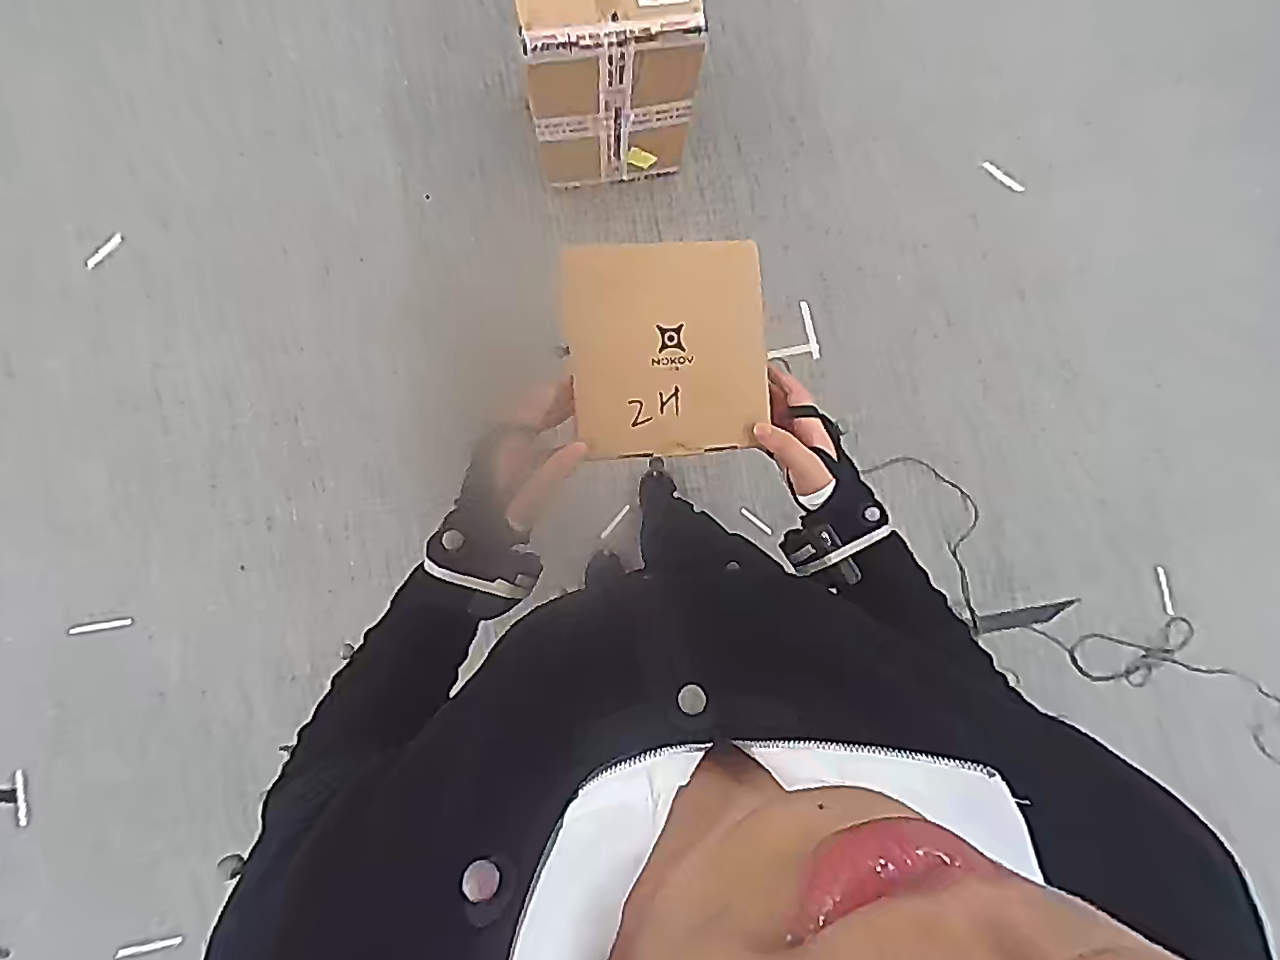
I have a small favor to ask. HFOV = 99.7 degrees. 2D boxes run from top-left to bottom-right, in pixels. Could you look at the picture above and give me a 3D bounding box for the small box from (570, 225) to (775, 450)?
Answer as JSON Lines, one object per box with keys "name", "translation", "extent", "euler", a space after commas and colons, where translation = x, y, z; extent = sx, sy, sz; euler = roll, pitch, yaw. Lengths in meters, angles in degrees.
{"name": "small box", "translation": [0.019, -0.126, 0.532], "extent": [0.168, 0.176, 0.179], "euler": [-5, 92, -7]}
